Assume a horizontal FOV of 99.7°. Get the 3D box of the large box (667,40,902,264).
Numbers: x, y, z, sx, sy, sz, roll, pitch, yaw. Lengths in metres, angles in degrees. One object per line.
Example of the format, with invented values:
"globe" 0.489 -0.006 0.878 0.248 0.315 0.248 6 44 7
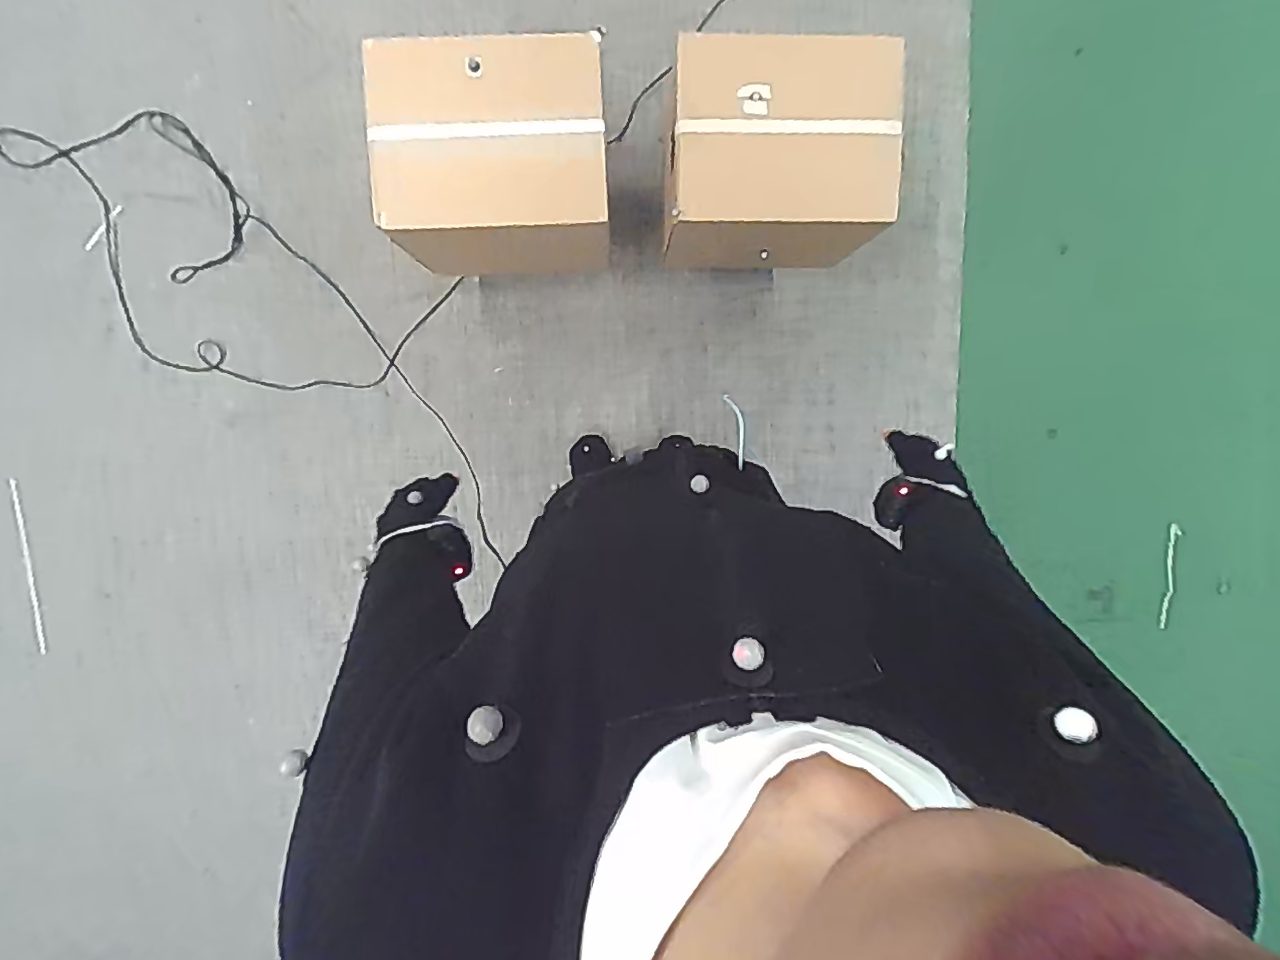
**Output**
"large box" 0.267 -0.643 1.119 0.408 0.320 0.320 0 96 -2
